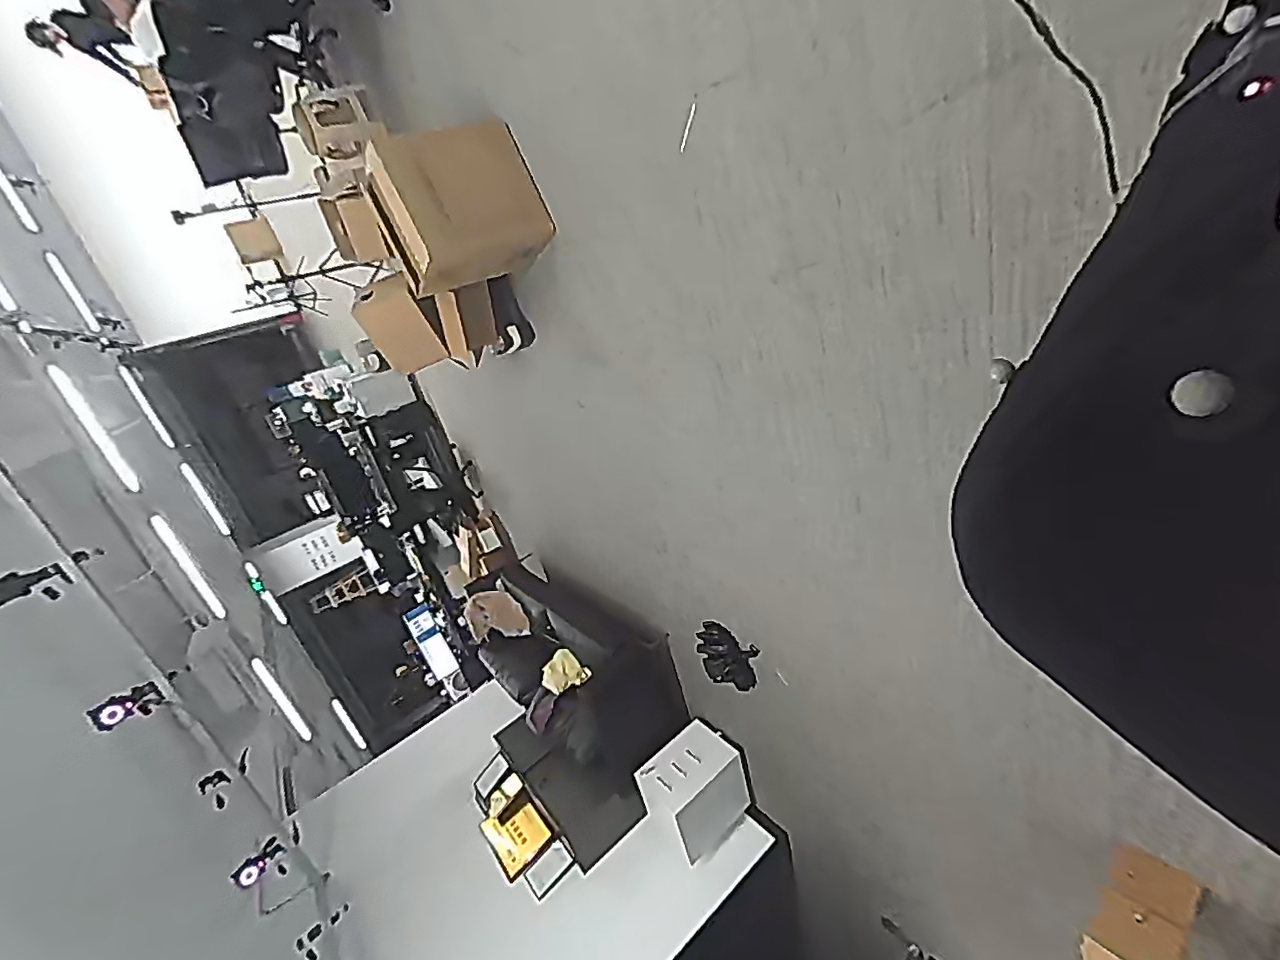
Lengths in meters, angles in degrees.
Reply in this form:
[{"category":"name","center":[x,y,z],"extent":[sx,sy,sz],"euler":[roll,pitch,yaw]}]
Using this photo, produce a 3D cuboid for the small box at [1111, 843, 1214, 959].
[{"category":"small box","center":[1.491,1.188,1.546],"extent":[0.179,0.176,0.168],"euler":[13,128,52]}]
